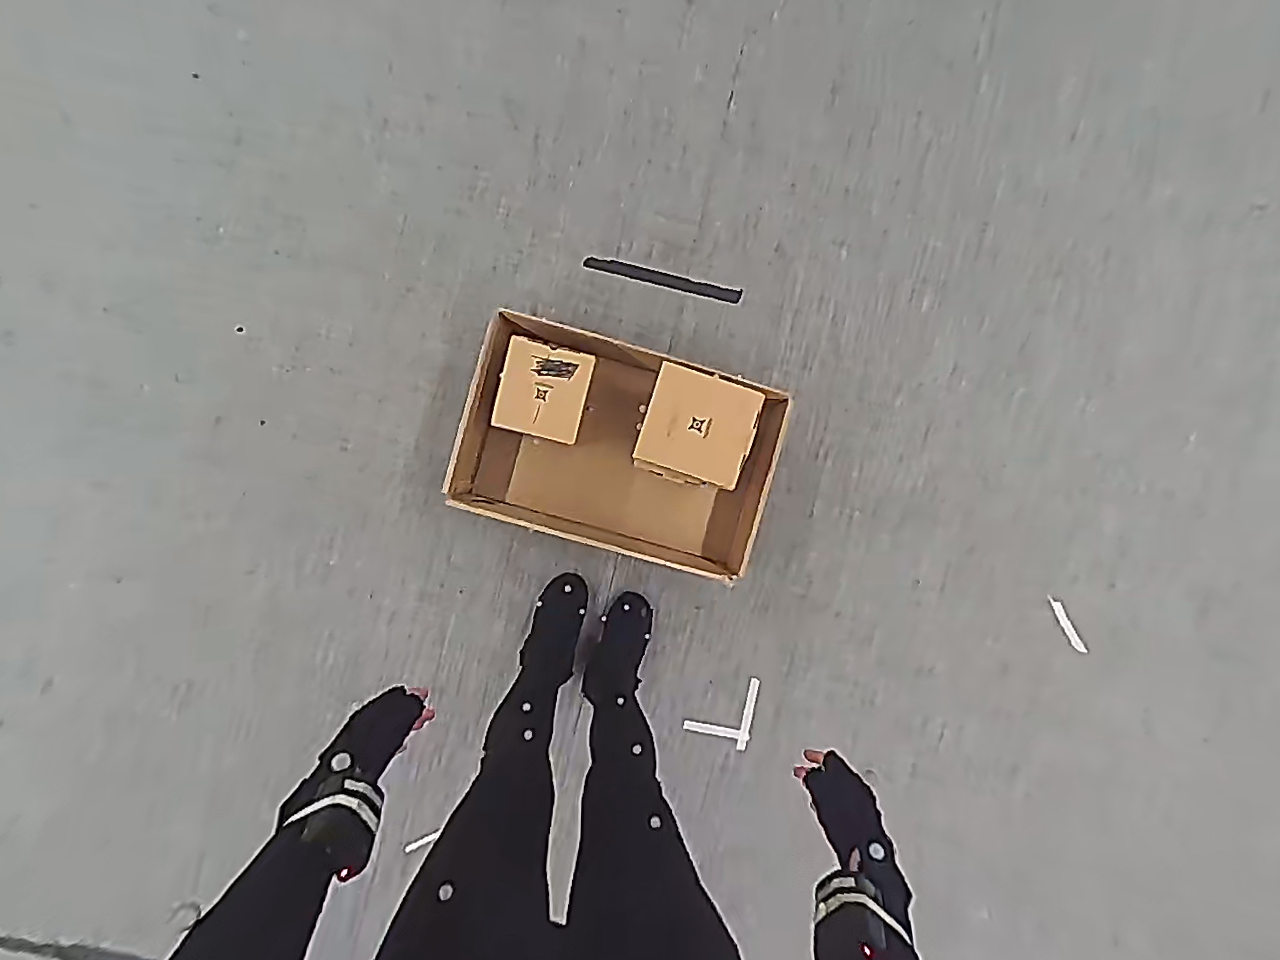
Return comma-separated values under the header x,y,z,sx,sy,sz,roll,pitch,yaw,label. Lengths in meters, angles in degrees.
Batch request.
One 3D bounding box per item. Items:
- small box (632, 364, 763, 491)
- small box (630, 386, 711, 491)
x,y,z,sx,sy,sz,roll,pitch,yaw,label
0.093,-0.086,0.951,0.179,0.176,0.168,17,90,0,small box
0.086,-0.087,1.115,0.168,0.176,0.179,17,93,1,small box
